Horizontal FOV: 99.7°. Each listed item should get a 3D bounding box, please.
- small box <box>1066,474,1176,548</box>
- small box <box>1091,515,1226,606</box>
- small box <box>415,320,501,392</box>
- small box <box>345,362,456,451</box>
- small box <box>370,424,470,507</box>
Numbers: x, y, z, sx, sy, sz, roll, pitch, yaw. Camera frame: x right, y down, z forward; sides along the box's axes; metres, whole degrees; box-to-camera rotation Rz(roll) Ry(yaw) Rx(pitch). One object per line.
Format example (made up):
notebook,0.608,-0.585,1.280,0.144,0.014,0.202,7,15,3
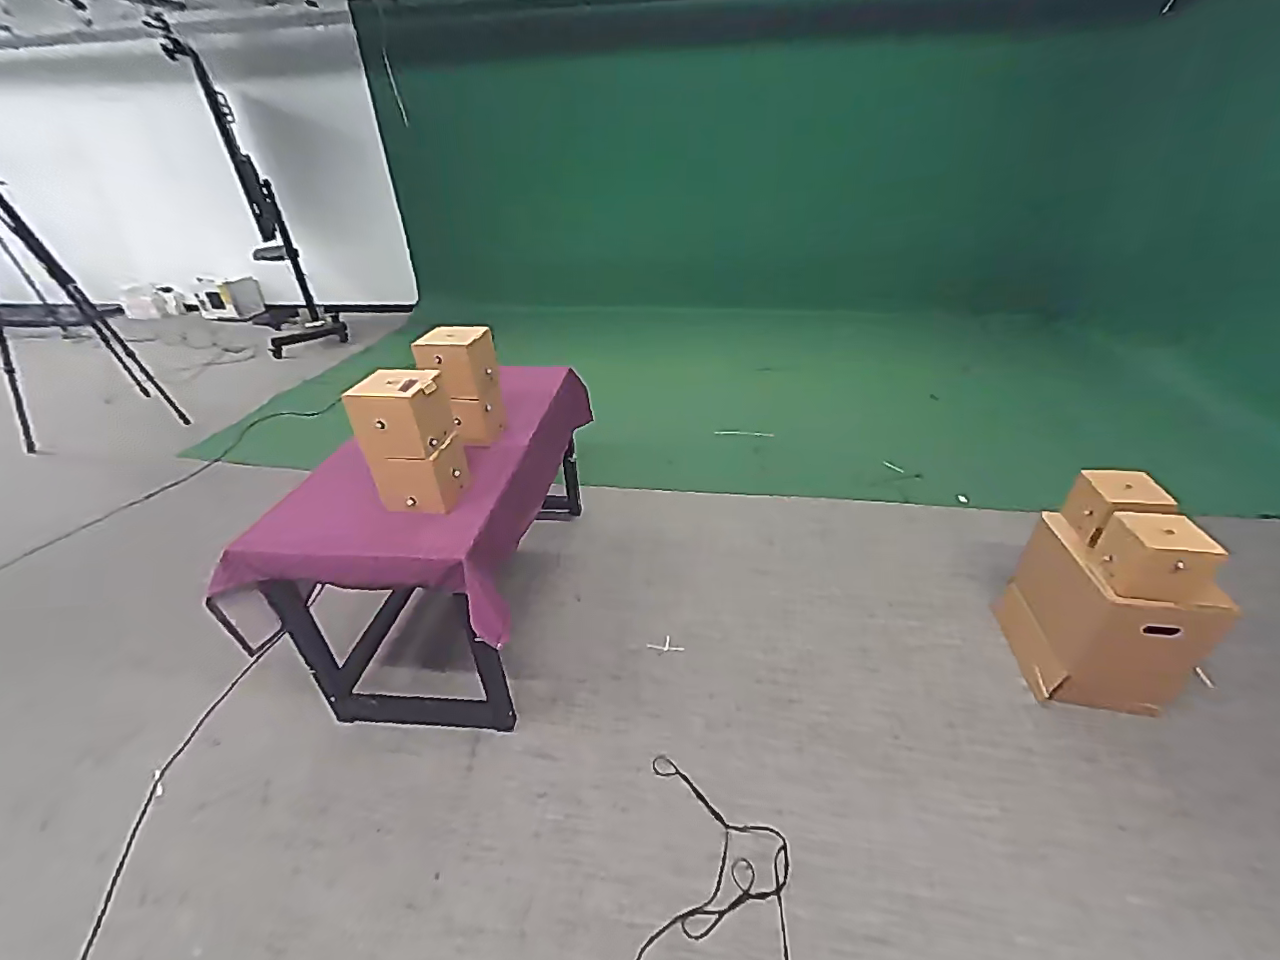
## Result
small box,1.434,0.098,1.631,0.179,0.176,0.168,4,36,9
small box,1.376,0.217,1.452,0.179,0.176,0.168,4,33,9
small box,-0.542,-0.375,1.634,0.179,0.176,0.168,4,34,9
small box,-0.582,-0.182,1.345,0.179,0.176,0.168,3,33,9
small box,-0.570,-0.043,1.432,0.179,0.176,0.168,4,33,7
